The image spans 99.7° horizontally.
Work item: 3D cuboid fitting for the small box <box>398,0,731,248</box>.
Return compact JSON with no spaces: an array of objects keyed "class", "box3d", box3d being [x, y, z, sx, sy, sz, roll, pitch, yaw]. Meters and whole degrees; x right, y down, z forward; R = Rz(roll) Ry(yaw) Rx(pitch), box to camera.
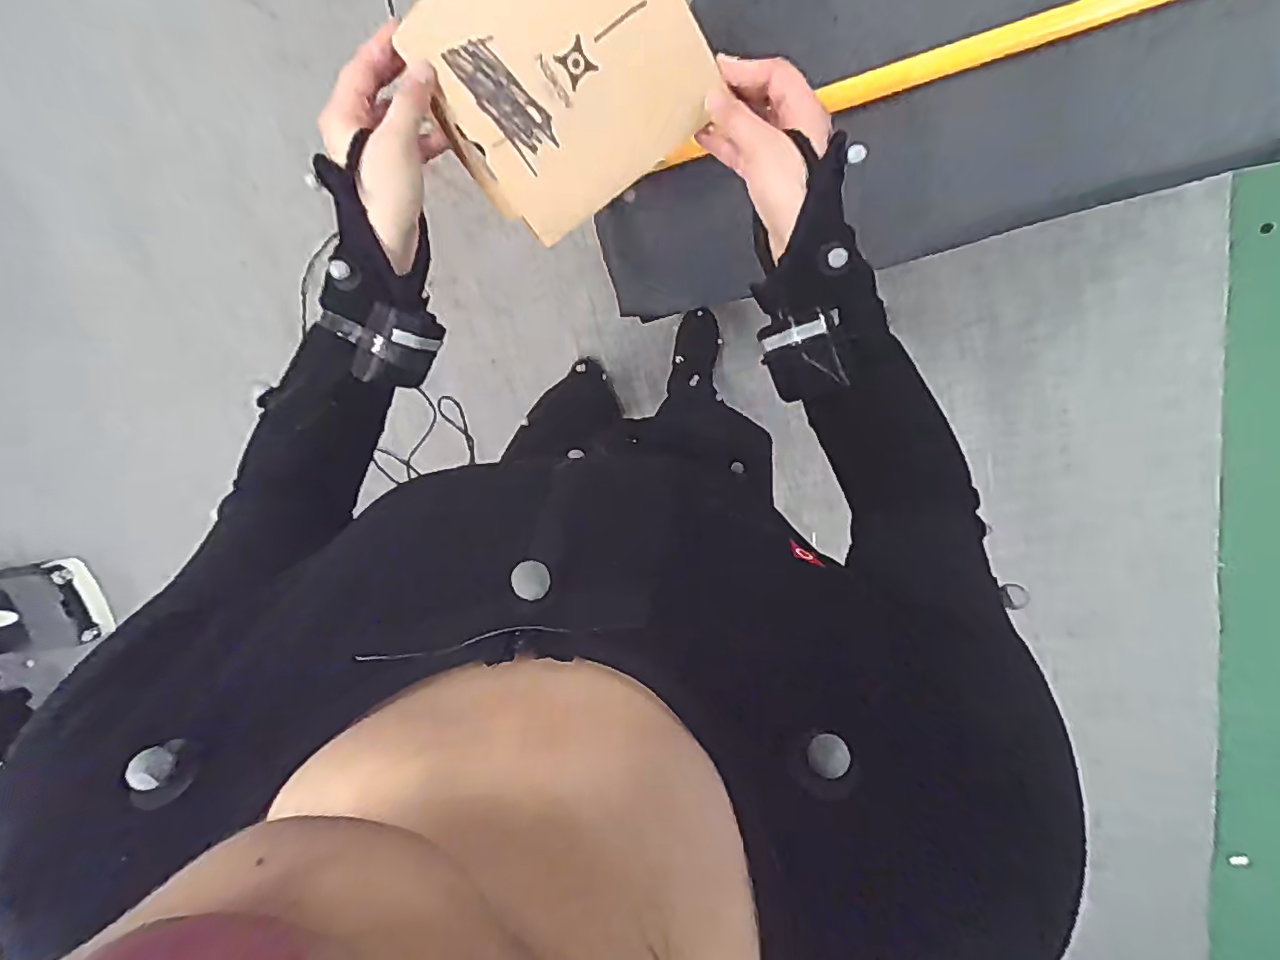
[{"class":"small box","box3d":[-0.047,-0.324,0.436,0.179,0.176,0.168,-29,120,20]}]
